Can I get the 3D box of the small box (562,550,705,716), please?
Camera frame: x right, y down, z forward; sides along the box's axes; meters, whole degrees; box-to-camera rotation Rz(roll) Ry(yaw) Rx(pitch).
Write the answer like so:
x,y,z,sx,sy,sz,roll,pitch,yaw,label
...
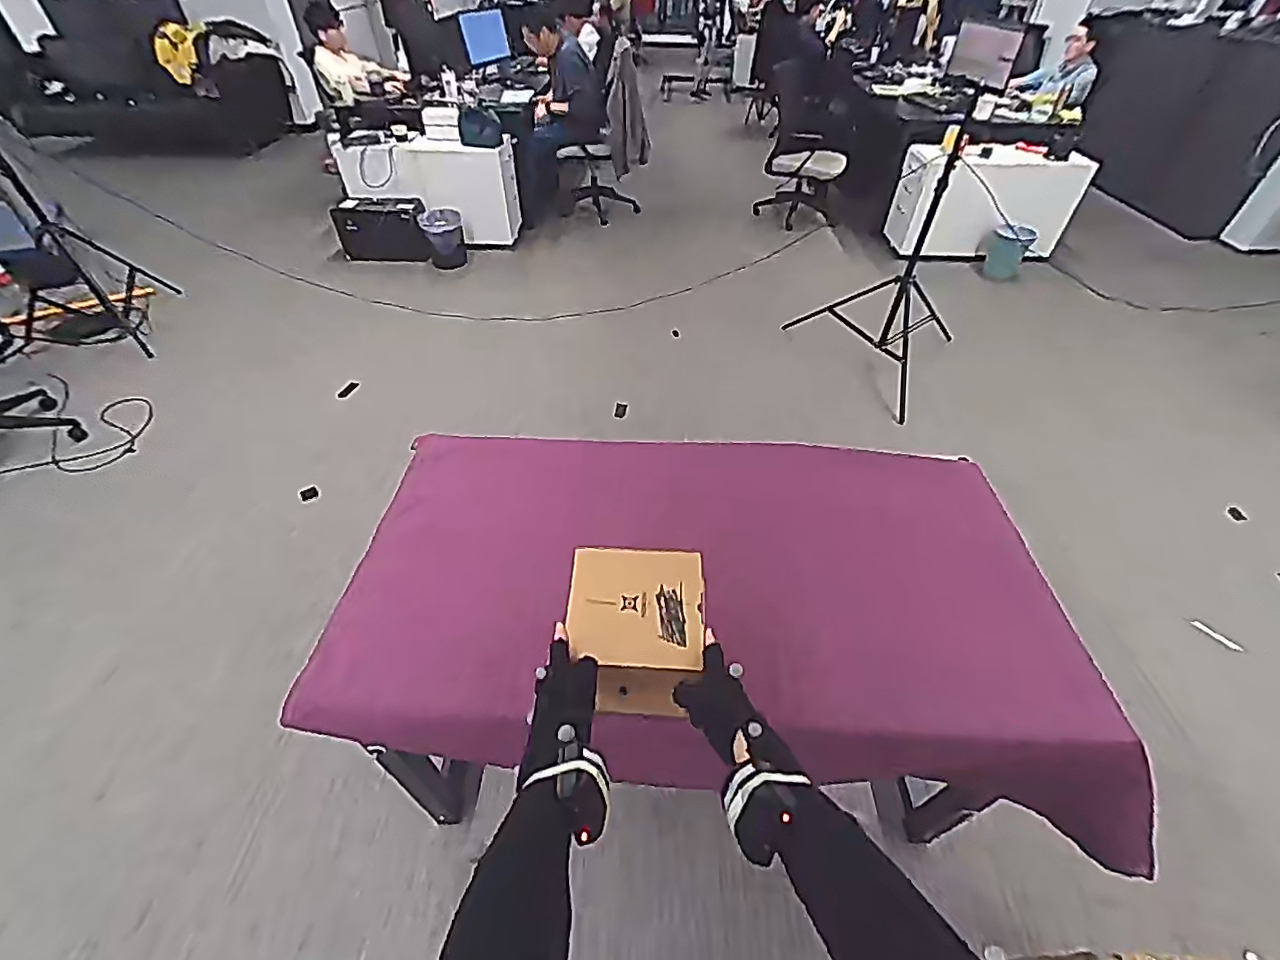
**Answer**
x,y,z,sx,sy,sz,roll,pitch,yaw,label
-0.010,0.220,0.761,0.179,0.176,0.168,5,48,-1,small box
